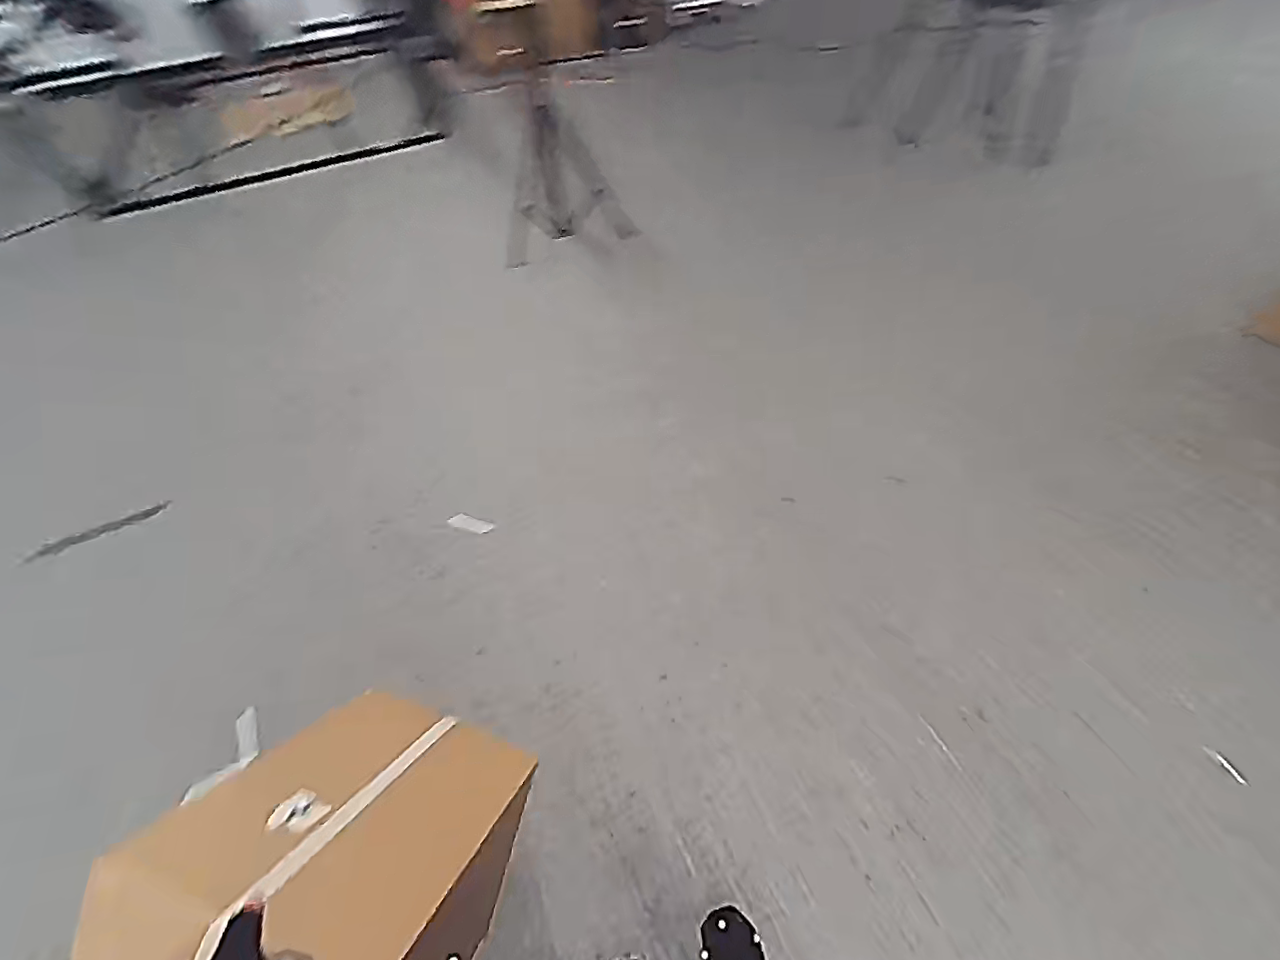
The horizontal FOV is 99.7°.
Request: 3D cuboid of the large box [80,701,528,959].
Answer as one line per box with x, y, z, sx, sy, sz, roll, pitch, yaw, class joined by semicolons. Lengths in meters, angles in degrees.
-0.394;0.570;0.706;0.320;0.408;0.320;17;97;10;large box
